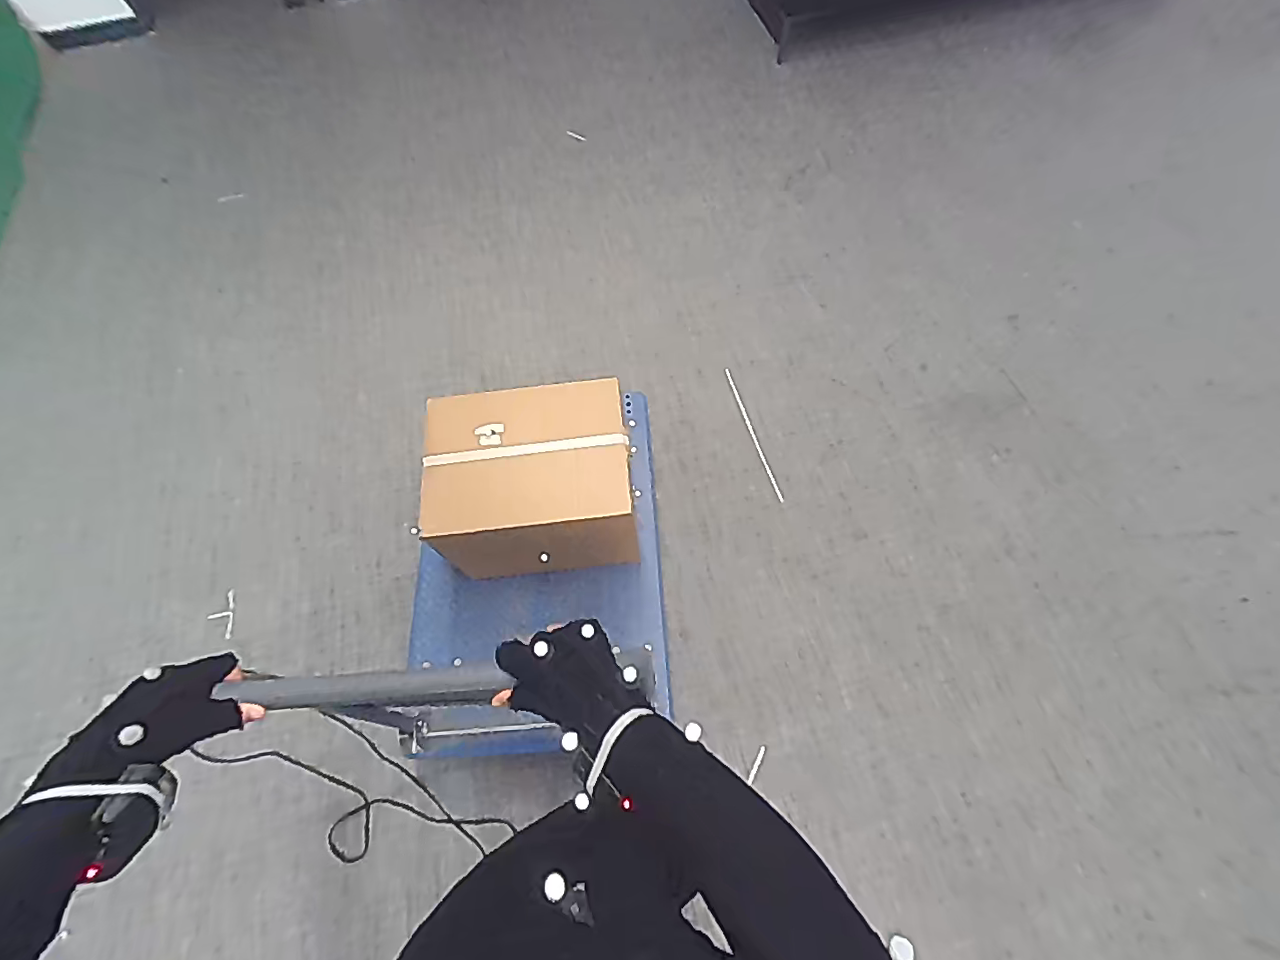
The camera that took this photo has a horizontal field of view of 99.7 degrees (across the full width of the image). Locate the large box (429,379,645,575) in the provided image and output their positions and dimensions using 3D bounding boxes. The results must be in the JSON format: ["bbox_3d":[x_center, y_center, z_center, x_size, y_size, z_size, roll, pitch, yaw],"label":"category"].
[{"bbox_3d":[-0.210,0.009,1.214,0.408,0.320,0.320,-7,64,0],"label":"large box"}]
